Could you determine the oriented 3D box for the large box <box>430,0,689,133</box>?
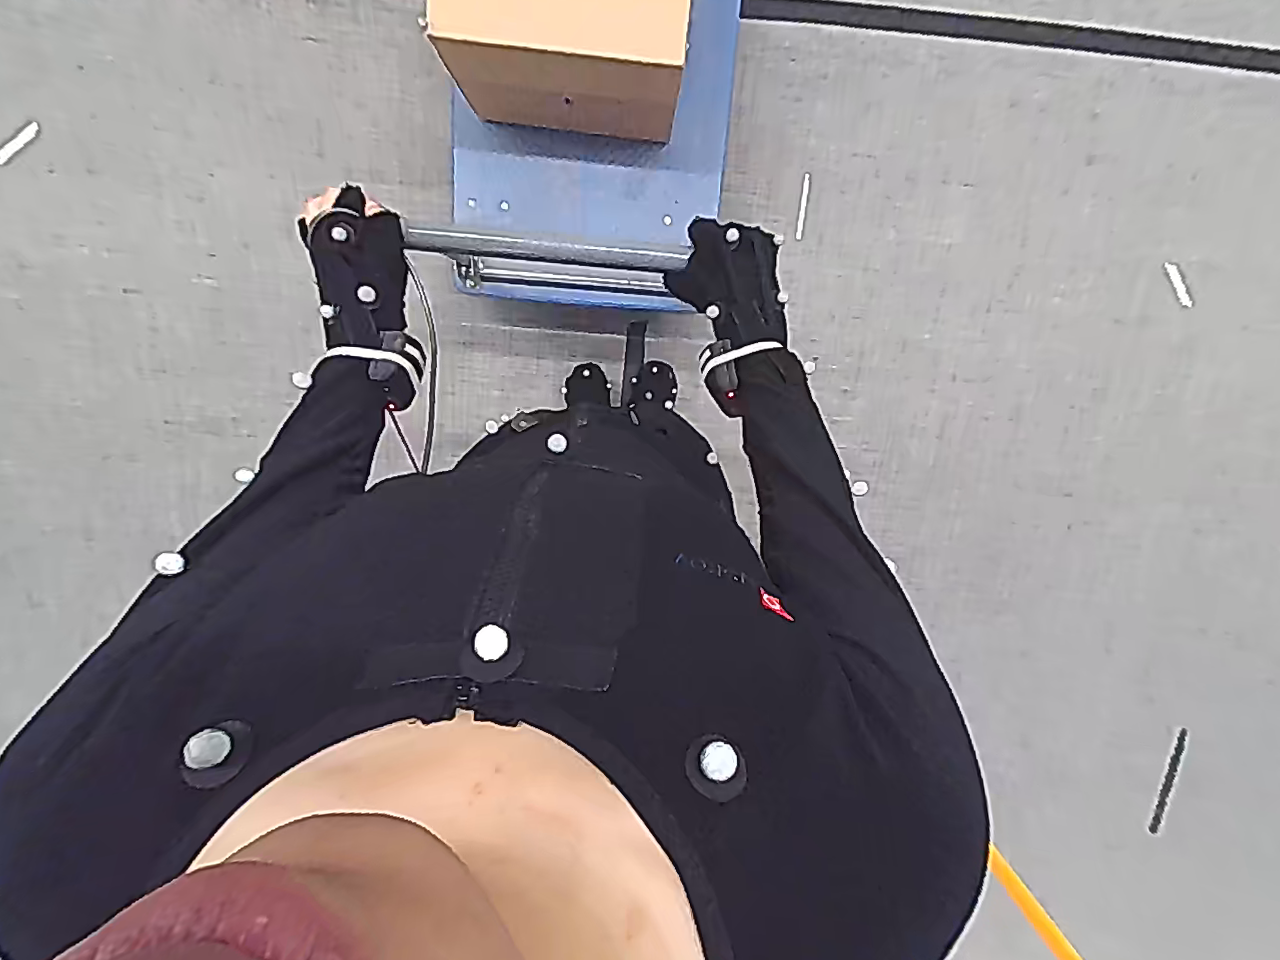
[{"bbox_3d":[-0.118,-0.856,0.959,0.408,0.320,0.320,5,103,-2],"label":"large box"}]
